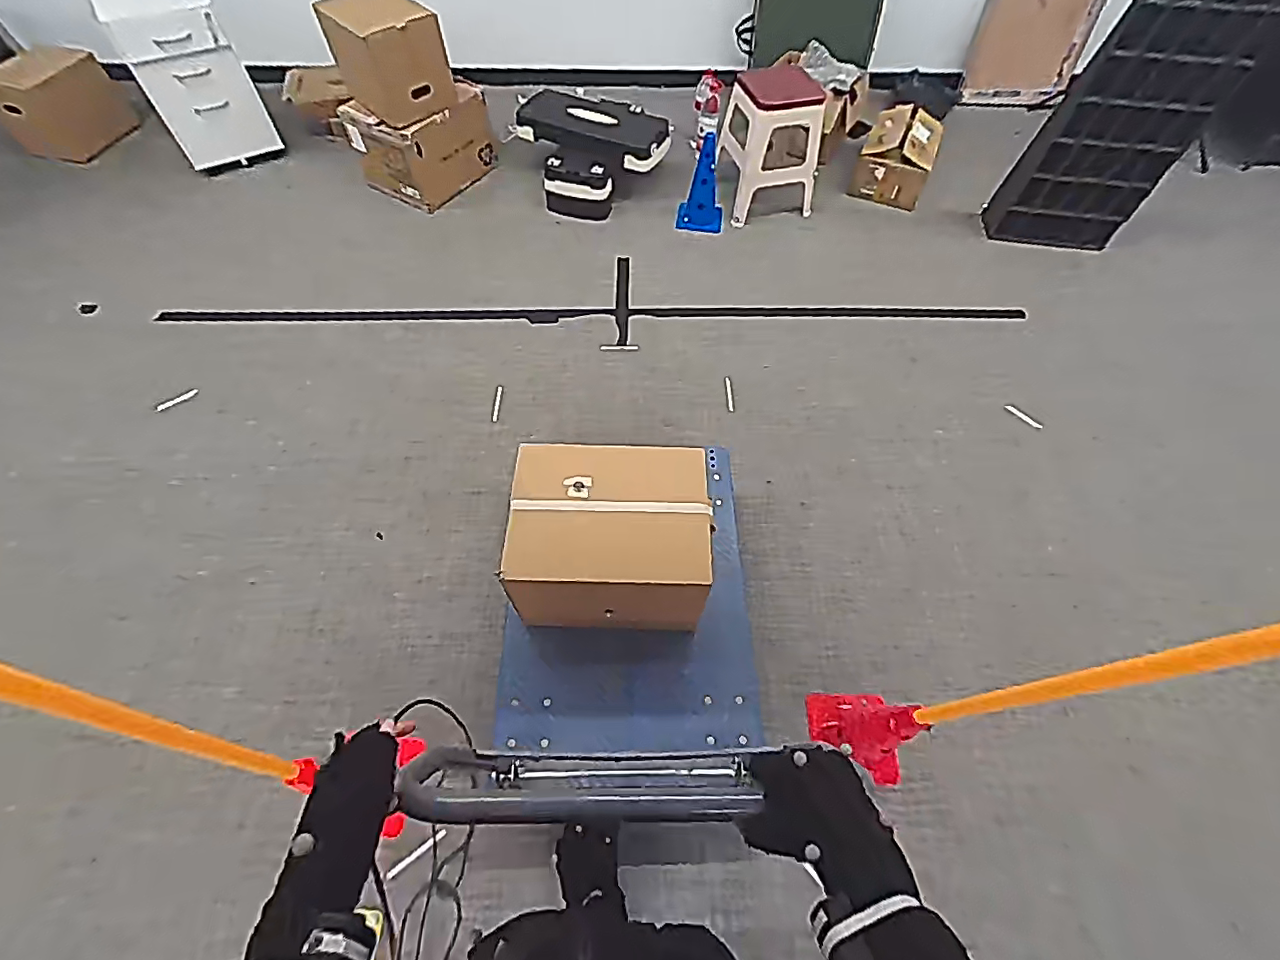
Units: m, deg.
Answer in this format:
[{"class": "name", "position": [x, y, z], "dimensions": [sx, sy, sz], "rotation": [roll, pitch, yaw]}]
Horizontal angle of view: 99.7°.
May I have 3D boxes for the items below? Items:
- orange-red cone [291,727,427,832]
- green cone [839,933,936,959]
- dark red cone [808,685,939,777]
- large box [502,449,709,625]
[{"class": "orange-red cone", "position": [-0.609, 0.595, 1.108], "dimensions": [0.198, 0.360, 0.199], "rotation": [7, 57, 2]}, {"class": "green cone", "position": [0.504, 0.932, 0.914], "dimensions": [0.202, 0.368, 0.200], "rotation": [4, 58, 0]}, {"class": "dark red cone", "position": [0.521, 0.511, 1.156], "dimensions": [0.201, 0.394, 0.202], "rotation": [1, 58, -3]}, {"class": "large box", "position": [-0.064, 0.140, 1.230], "dimensions": [0.408, 0.320, 0.320], "rotation": [1, 59, 0]}]
